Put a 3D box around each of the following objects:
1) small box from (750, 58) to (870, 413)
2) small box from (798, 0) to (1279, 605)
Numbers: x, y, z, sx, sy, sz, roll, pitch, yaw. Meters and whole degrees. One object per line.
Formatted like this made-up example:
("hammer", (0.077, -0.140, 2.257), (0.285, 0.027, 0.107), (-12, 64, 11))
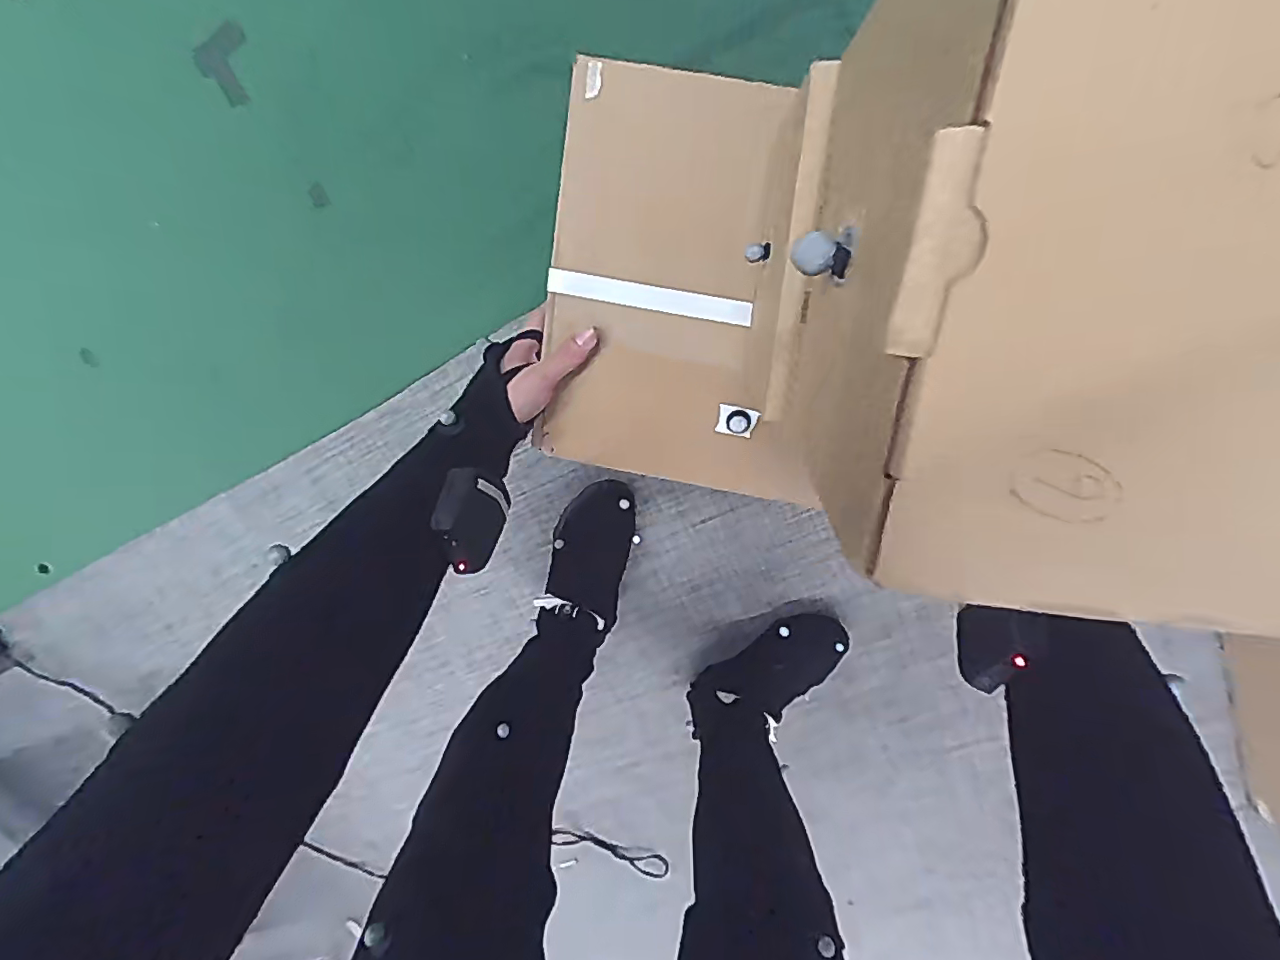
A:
("small box", (0.168, -0.133, 0.337), (0.179, 0.176, 0.168), (5, 111, 5))
("small box", (0.160, -0.074, 0.184), (0.179, 0.176, 0.168), (6, 111, 6))
